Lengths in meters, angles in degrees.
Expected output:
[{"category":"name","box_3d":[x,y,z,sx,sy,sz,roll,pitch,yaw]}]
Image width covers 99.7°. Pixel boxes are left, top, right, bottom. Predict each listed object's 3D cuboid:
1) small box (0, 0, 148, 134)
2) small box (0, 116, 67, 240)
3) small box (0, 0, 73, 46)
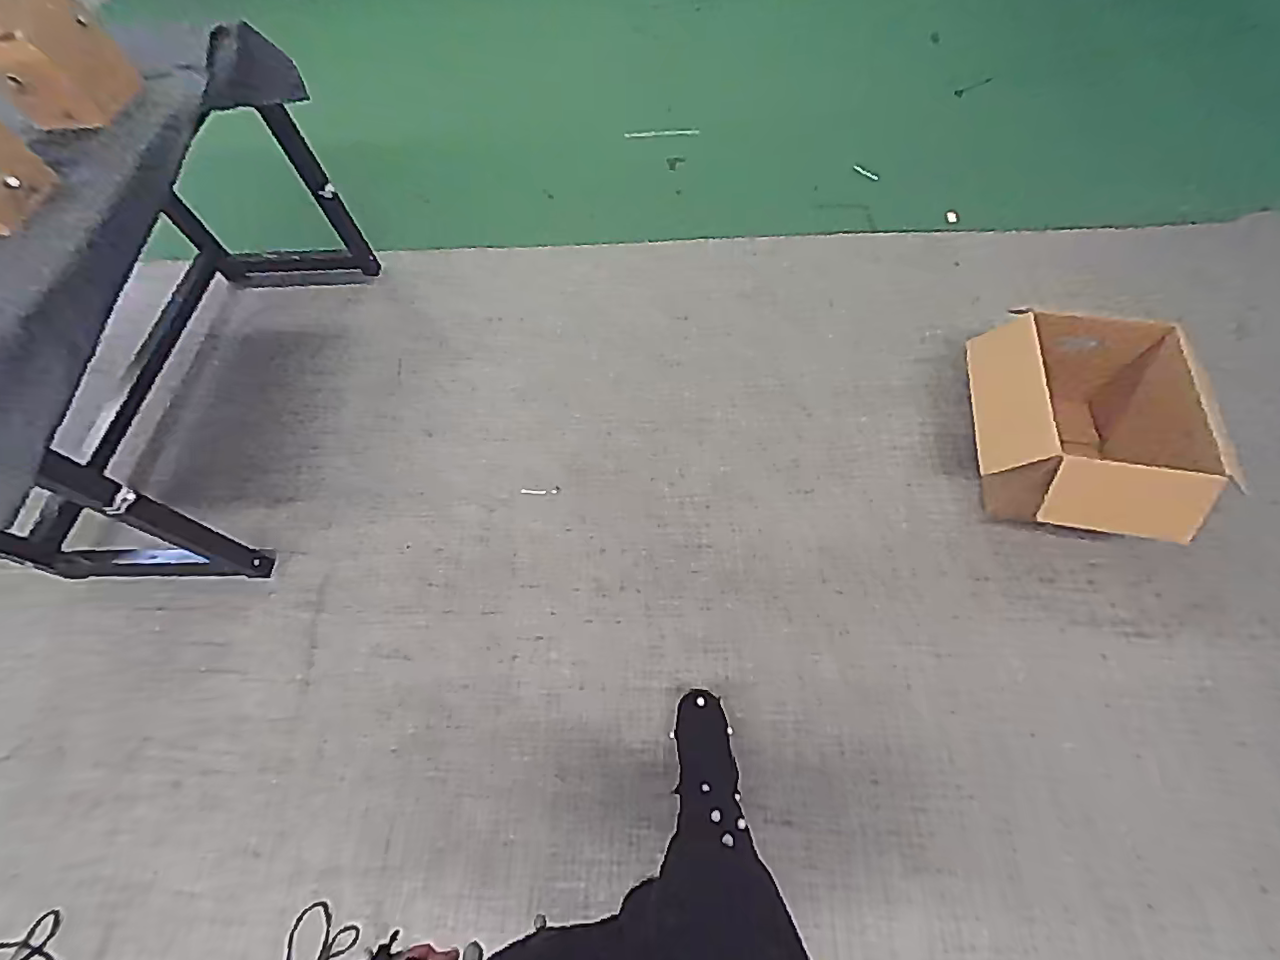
[{"category":"small box","box_3d":[-1.189,-0.844,1.118,0.168,0.176,0.179,1,61,5]},{"category":"small box","box_3d":[-1.210,-0.548,0.958,0.179,0.176,0.168,0,62,4]},{"category":"small box","box_3d":[-1.216,-0.920,0.969,0.168,0.176,0.179,4,62,7]}]
